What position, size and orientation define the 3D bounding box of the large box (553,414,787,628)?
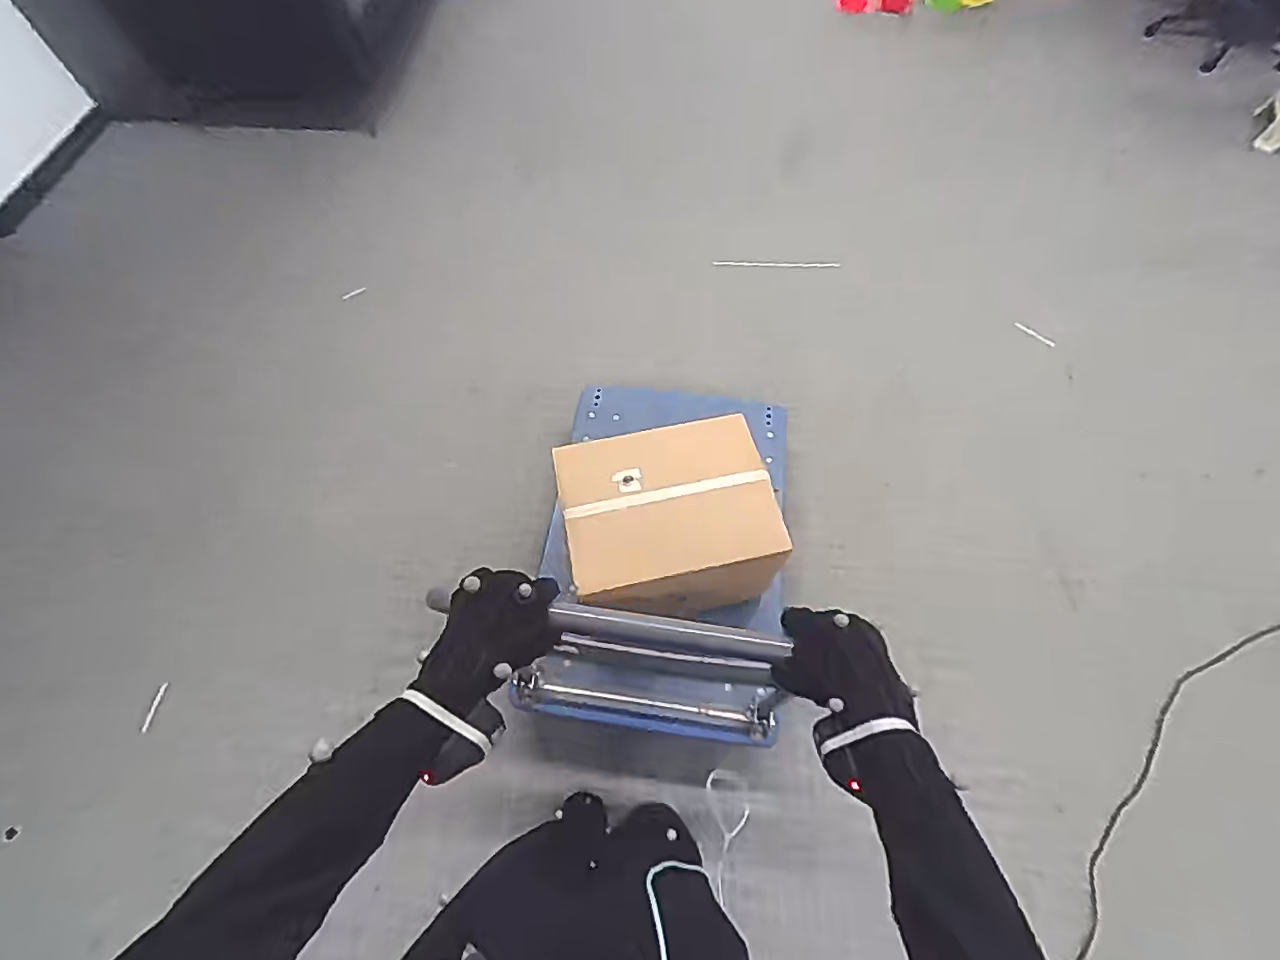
[{"bbox_3d":[0.052,0.100,1.178,0.408,0.320,0.320,-11,61,-5],"label":"large box"}]
